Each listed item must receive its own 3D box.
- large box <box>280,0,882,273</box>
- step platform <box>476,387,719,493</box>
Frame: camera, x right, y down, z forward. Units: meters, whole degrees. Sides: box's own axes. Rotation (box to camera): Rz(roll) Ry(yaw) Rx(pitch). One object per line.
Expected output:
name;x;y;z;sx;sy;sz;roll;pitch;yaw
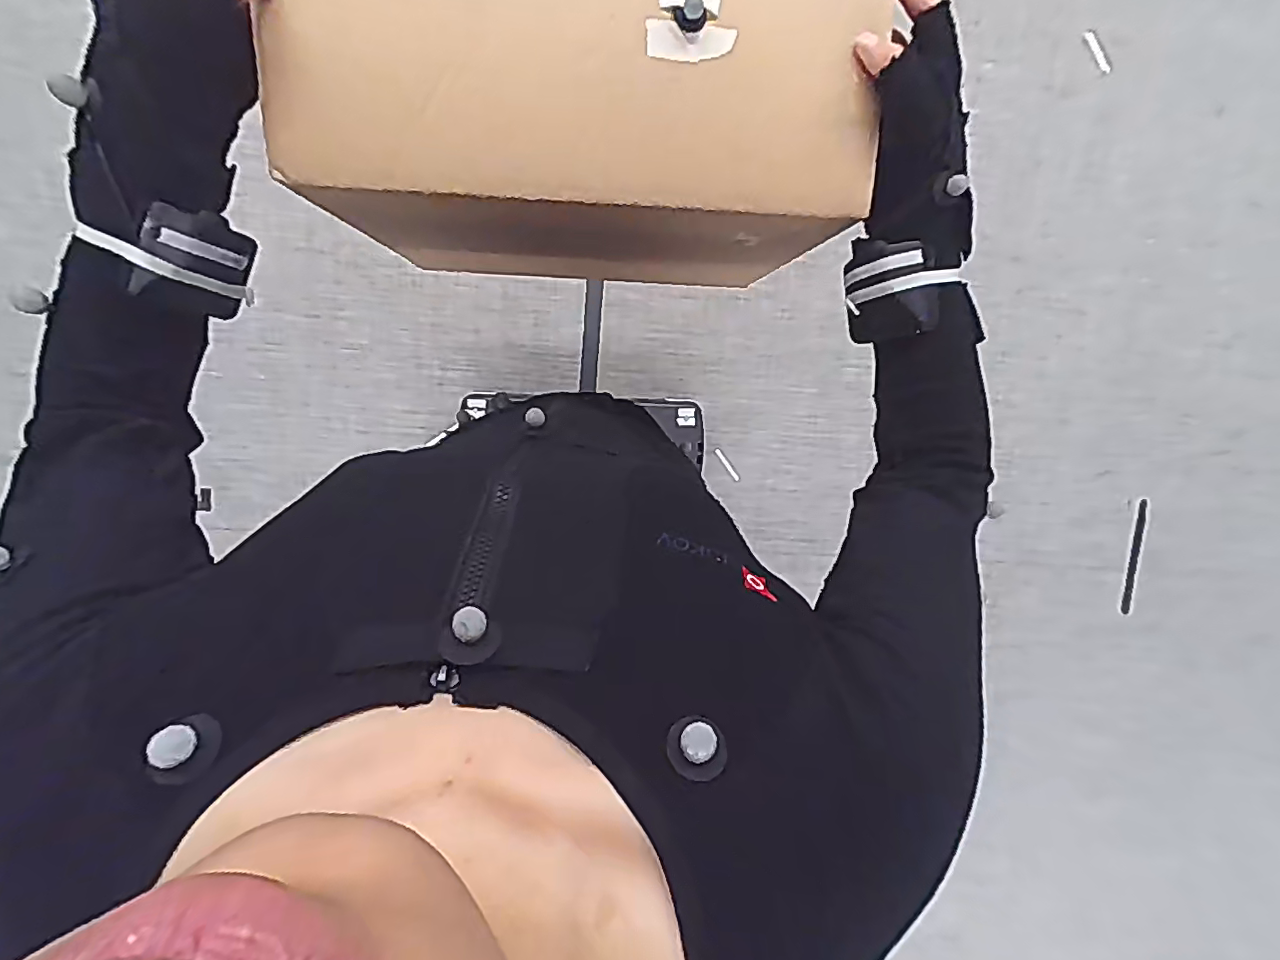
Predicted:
large box;-0.044;-0.381;0.495;0.408;0.320;0.320;0;102;-6
step platform;-0.118;-0.117;1.559;0.684;0.204;0.286;1;99;-4
